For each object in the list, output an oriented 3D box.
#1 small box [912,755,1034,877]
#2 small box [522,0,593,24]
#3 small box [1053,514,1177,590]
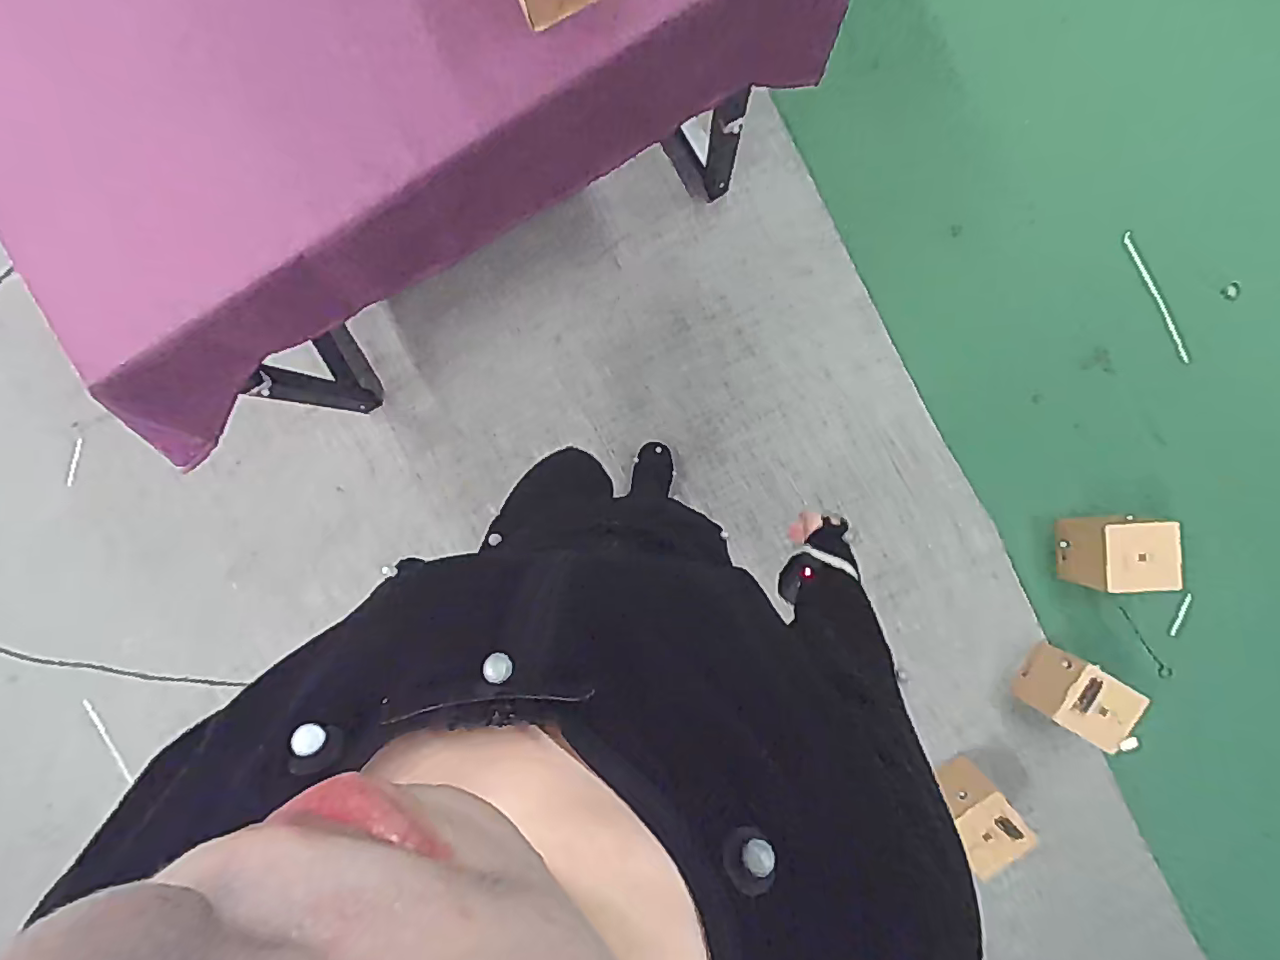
[{"bbox_3d":[0.854,0.862,1.407,0.179,0.176,0.168,-39,90,4],"label":"small box"},{"bbox_3d":[-0.112,-0.738,0.669,0.168,0.176,0.179,-25,91,3],"label":"small box"},{"bbox_3d":[1.199,0.178,1.374,0.179,0.176,0.168,-3,92,2],"label":"small box"}]
